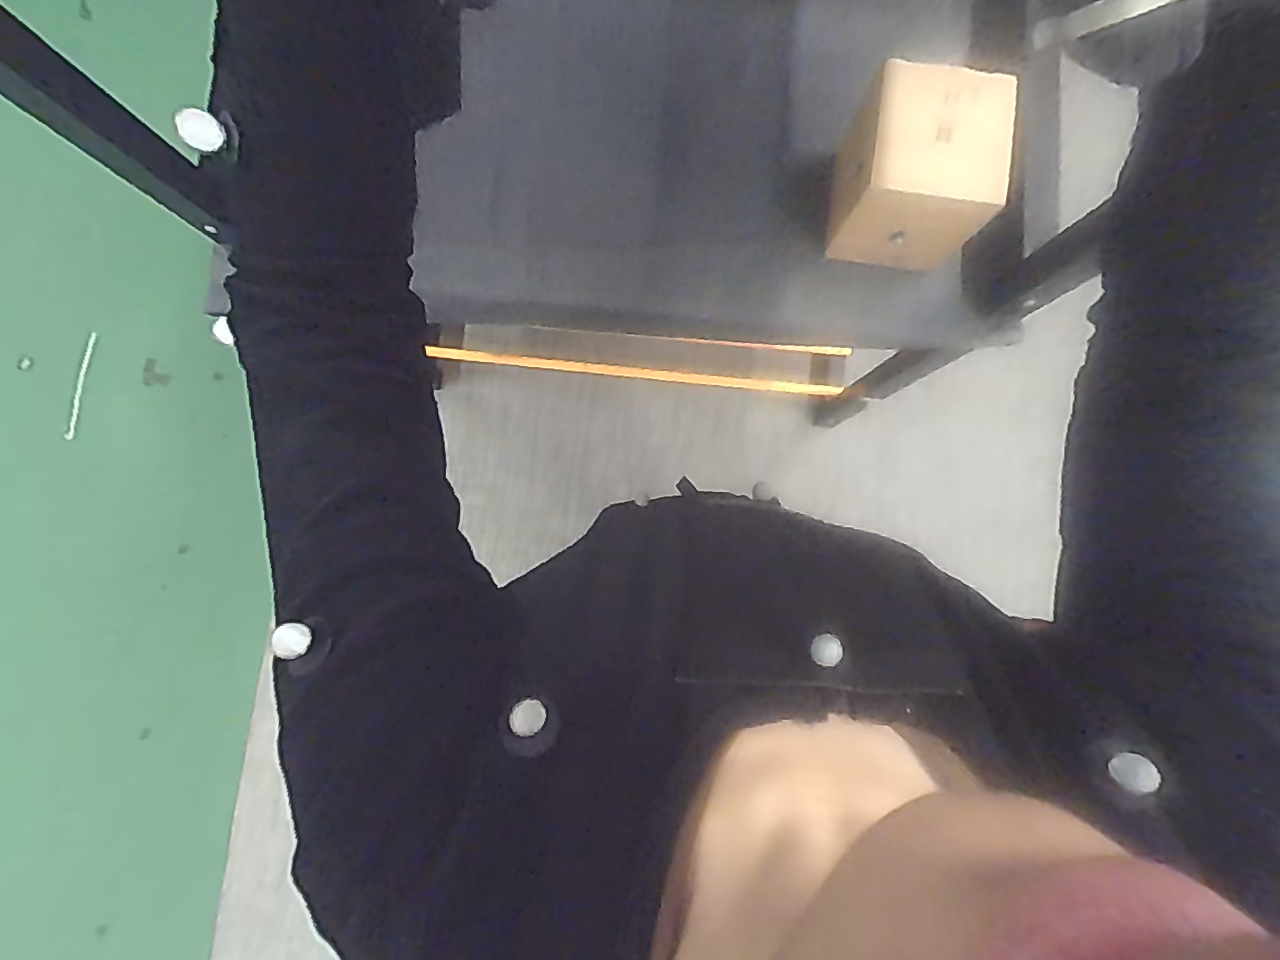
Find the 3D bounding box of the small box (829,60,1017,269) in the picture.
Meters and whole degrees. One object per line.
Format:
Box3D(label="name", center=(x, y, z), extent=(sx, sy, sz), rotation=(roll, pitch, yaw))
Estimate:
Box3D(label="small box", center=(0.371, -0.415, 0.739), extent=(0.168, 0.176, 0.179), rotation=(9, 84, 1))
